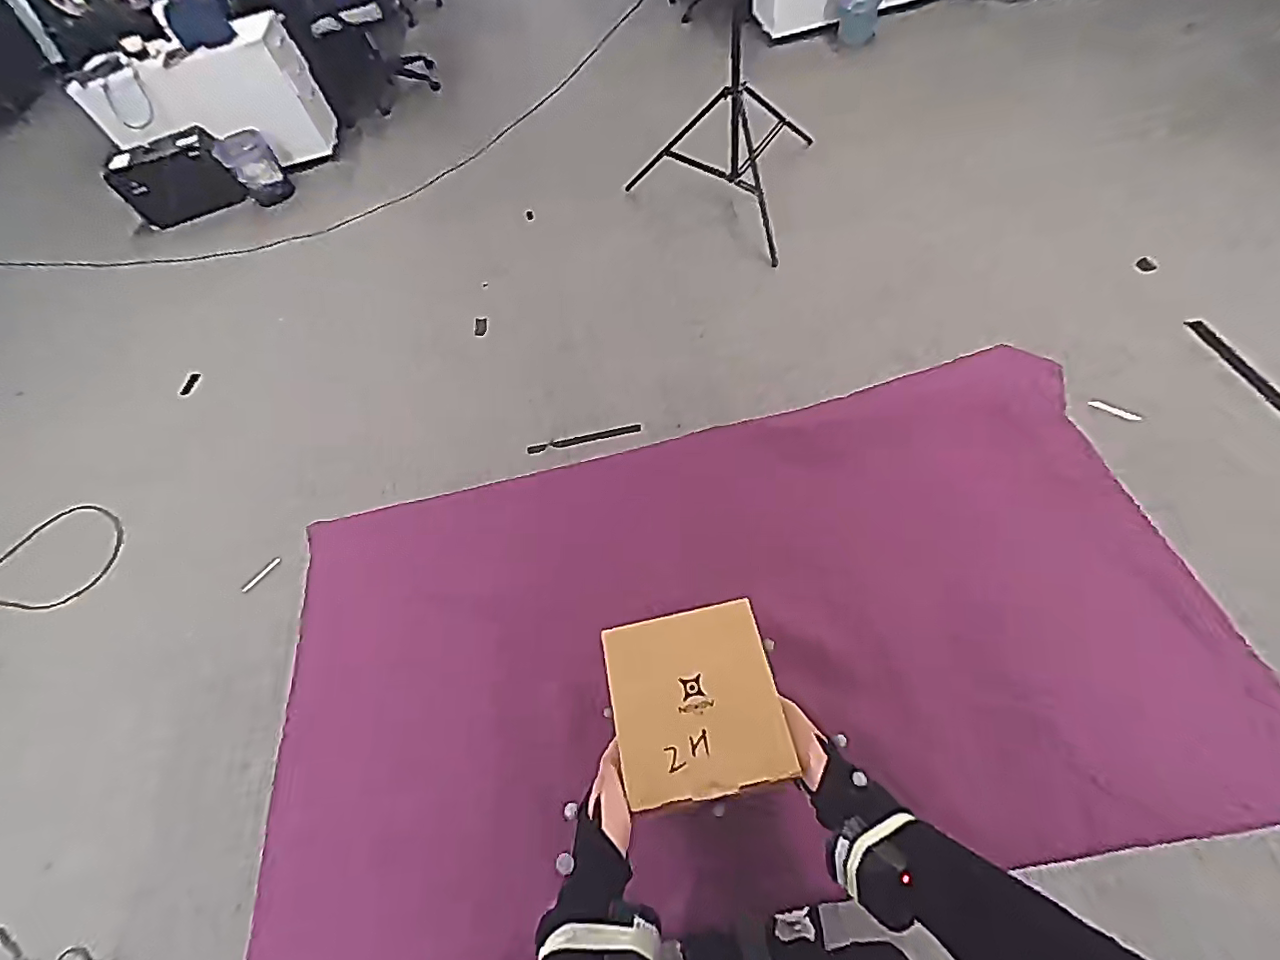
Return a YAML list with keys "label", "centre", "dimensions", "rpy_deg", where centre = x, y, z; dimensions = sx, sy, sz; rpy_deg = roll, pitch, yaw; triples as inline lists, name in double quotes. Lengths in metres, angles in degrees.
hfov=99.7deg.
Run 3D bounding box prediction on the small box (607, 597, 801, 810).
- label: "small box"
  centre: [0.065, 0.258, 0.612]
  dimensions: [0.168, 0.176, 0.179]
  rpy_deg: [-13, 57, 0]
